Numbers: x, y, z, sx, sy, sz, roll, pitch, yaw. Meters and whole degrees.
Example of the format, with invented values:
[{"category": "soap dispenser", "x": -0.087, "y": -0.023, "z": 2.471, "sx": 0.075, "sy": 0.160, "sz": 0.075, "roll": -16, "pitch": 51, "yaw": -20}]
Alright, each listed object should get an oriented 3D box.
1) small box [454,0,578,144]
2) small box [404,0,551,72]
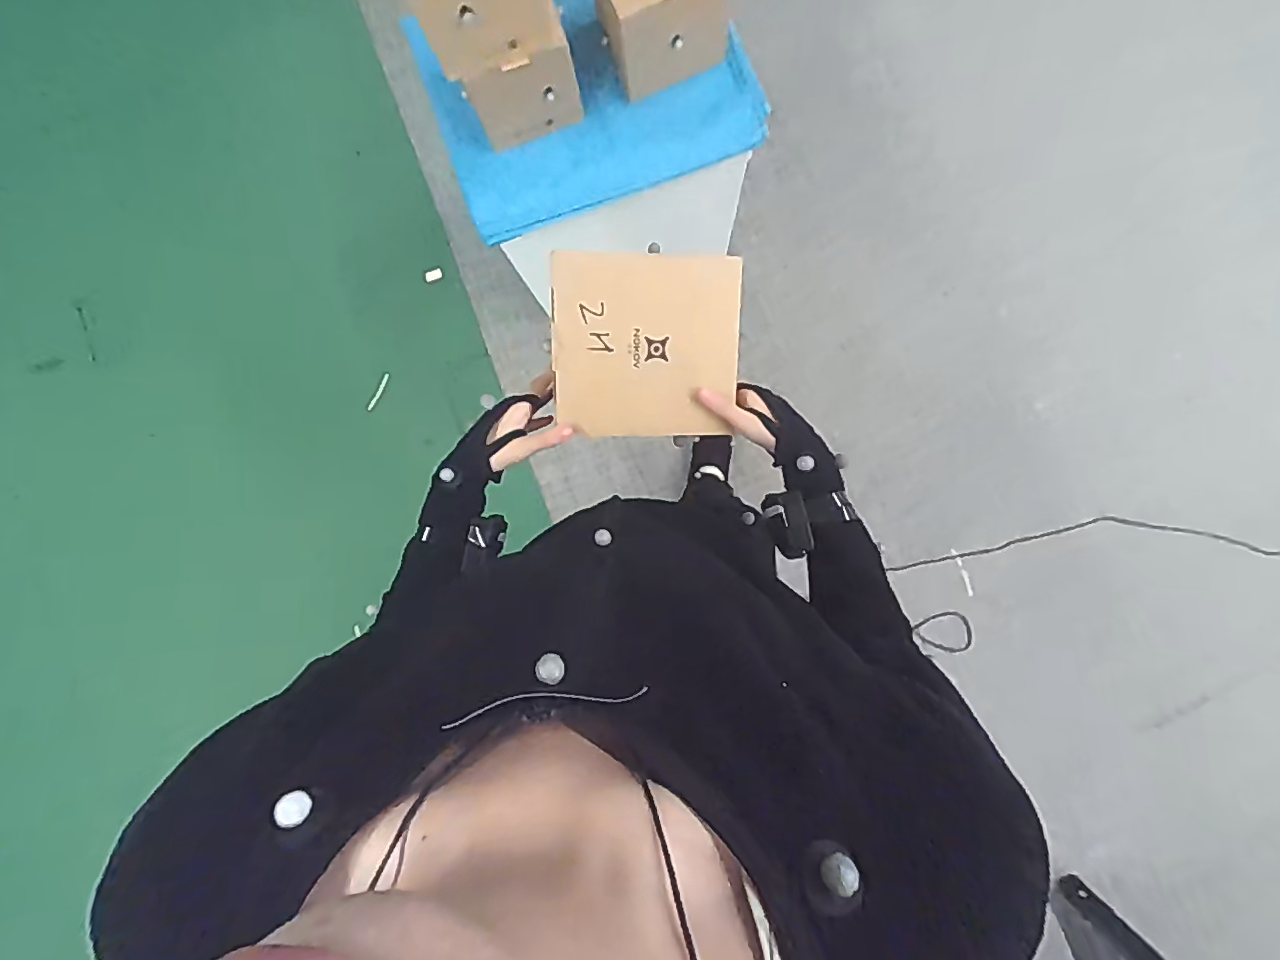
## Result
[{"category": "small box", "x": -0.207, "y": -0.672, "z": 0.856, "sx": 0.168, "sy": 0.176, "sz": 0.179, "roll": -18, "pitch": 87, "yaw": 1}, {"category": "small box", "x": -0.225, "y": -0.674, "z": 0.695, "sx": 0.168, "sy": 0.176, "sz": 0.179, "roll": -17, "pitch": 86, "yaw": 1}]
